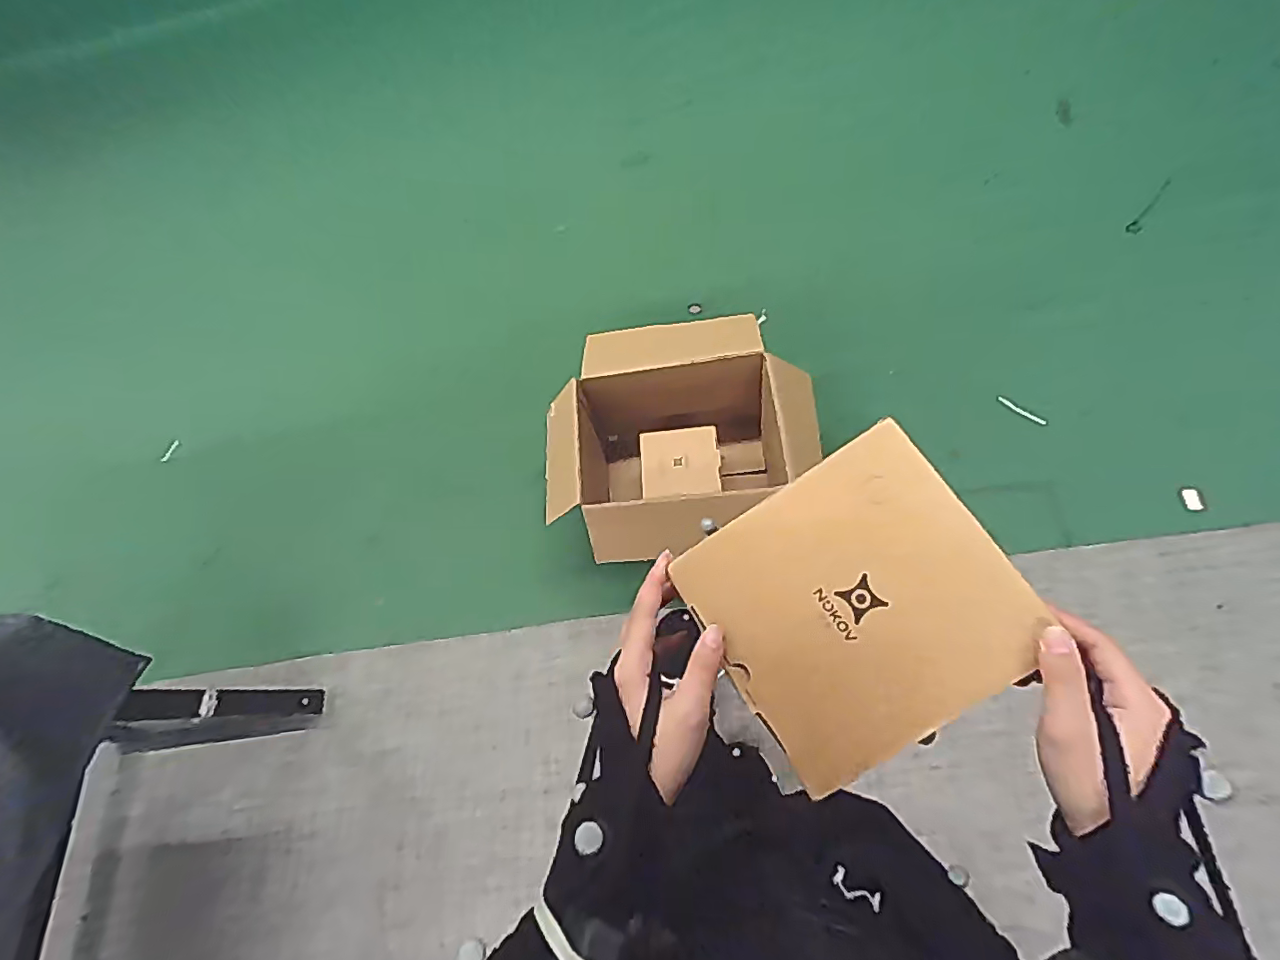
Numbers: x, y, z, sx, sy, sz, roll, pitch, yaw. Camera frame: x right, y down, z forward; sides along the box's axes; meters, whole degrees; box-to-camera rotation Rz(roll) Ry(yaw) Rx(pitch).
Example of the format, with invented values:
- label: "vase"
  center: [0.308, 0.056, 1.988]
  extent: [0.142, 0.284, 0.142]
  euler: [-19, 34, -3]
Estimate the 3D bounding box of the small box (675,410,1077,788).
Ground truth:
- label: "small box"
  center: [0.148, 0.078, 0.403]
  extent: [0.179, 0.176, 0.168]
  euler: [-34, 76, 5]
